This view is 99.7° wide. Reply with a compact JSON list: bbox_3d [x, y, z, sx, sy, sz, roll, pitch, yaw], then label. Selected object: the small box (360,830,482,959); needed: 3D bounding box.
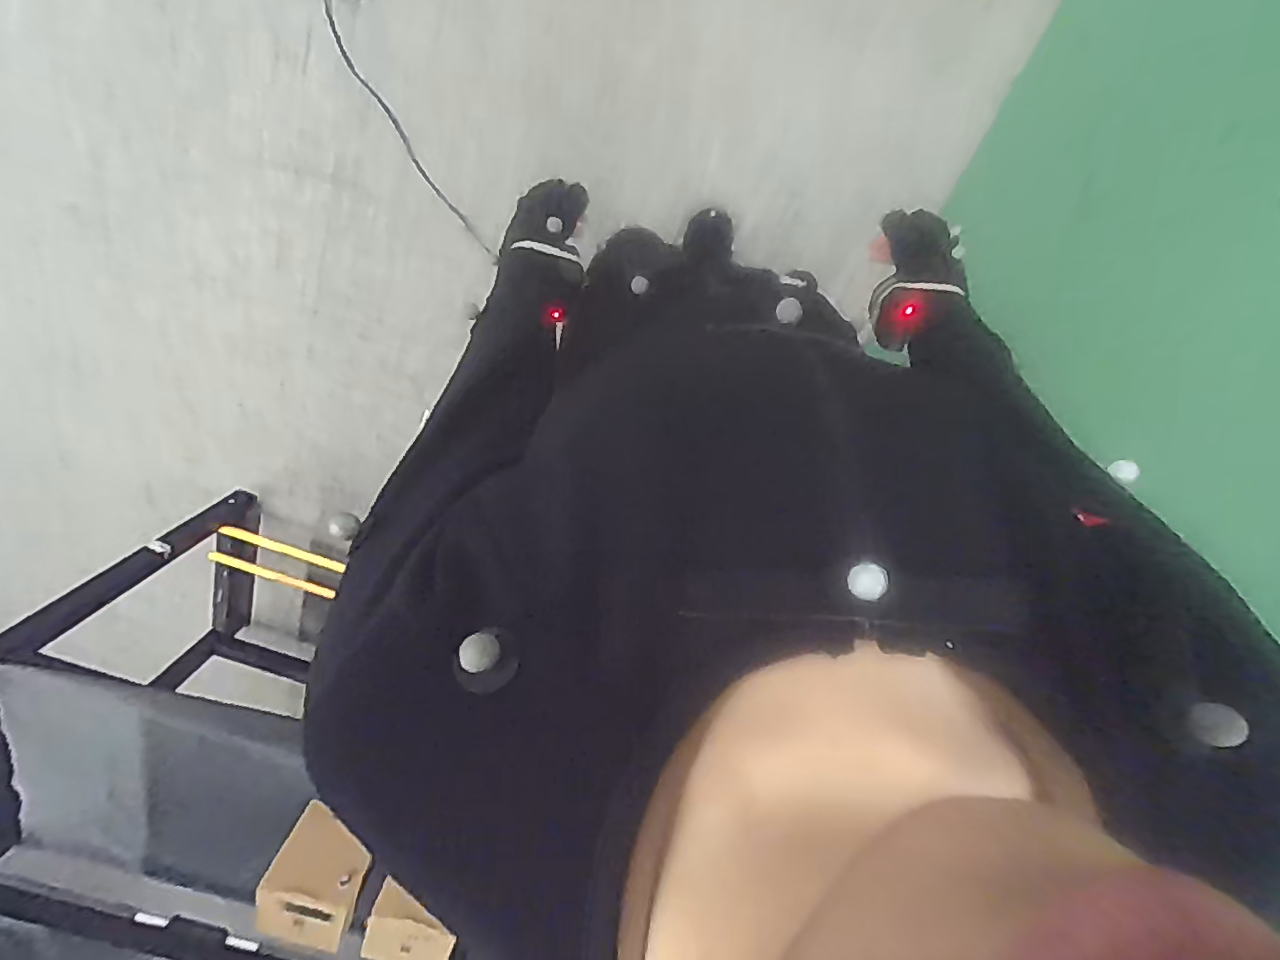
[{"bbox_3d":[-0.436,0.856,1.093,0.168,0.176,0.179,19,115,-6],"label":"small box"}]
